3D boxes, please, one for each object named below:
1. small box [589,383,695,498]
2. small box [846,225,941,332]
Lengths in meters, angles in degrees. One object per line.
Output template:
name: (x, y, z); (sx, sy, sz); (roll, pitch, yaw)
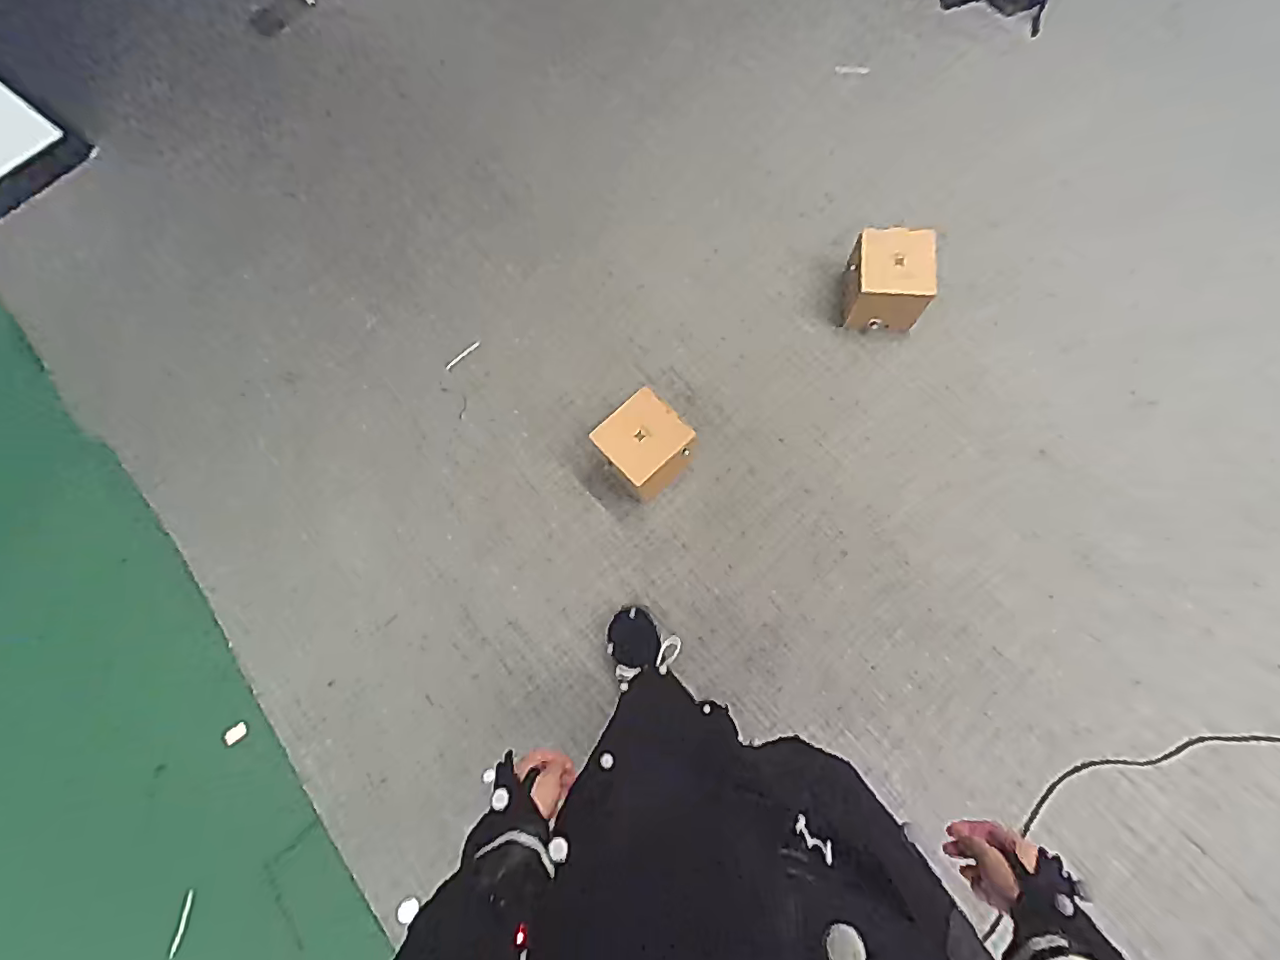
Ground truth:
small box: (0.012, -0.082, 1.242); (0.179, 0.176, 0.168); (-42, 76, -8)
small box: (0.603, -0.482, 1.304); (0.168, 0.176, 0.179); (5, 76, 7)
